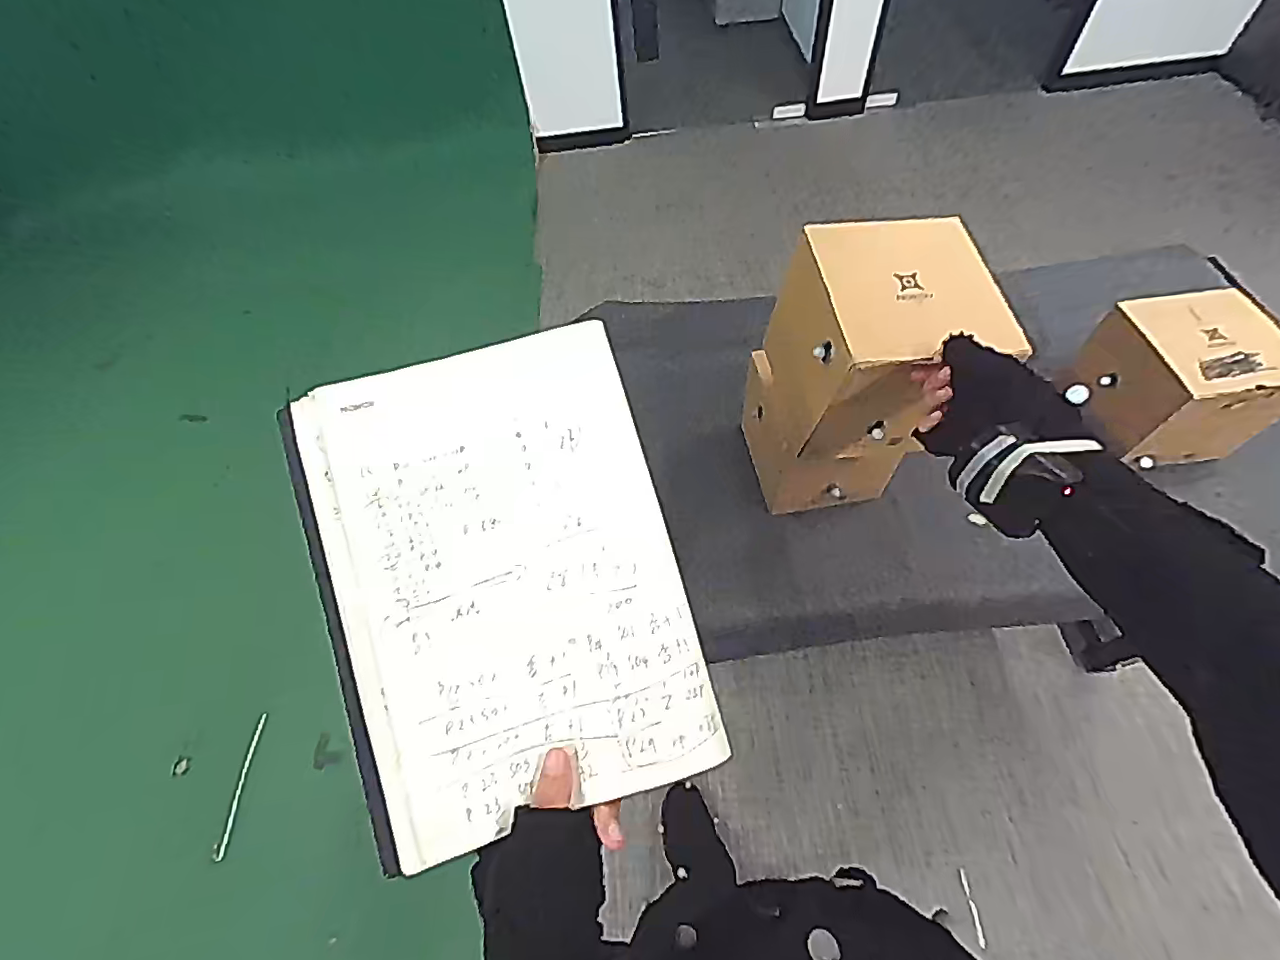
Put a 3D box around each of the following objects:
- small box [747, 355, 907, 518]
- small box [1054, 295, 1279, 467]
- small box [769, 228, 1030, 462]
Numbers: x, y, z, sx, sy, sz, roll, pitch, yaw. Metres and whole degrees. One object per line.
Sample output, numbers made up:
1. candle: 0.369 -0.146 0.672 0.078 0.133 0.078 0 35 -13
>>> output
1. small box: 0.257 -0.069 0.776 0.168 0.176 0.179 -10 57 0
2. small box: 0.750 -0.131 0.768 0.168 0.176 0.179 -6 56 2
3. small box: 0.251 -0.139 0.579 0.168 0.176 0.179 -6 62 -5
